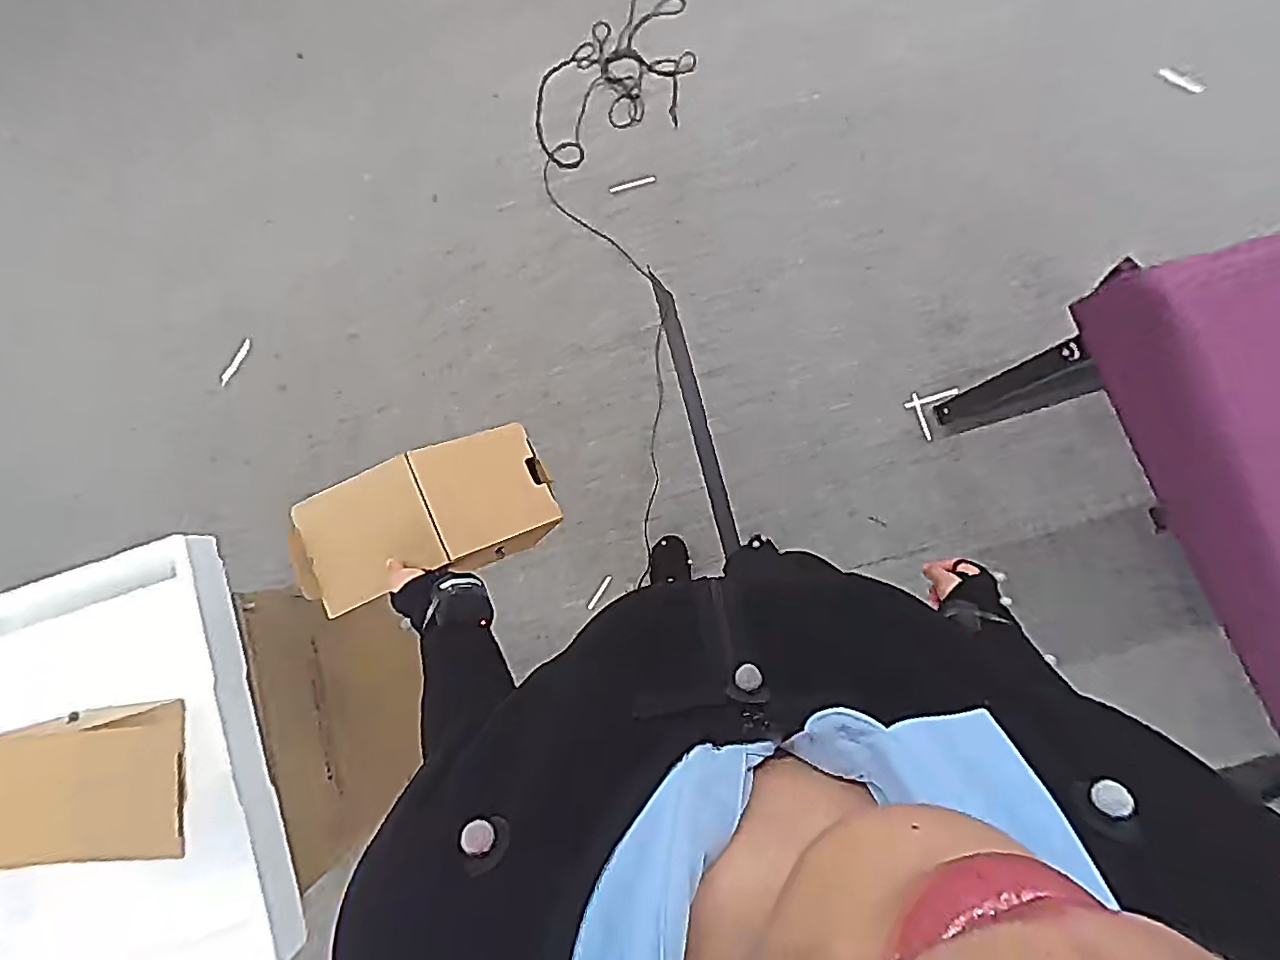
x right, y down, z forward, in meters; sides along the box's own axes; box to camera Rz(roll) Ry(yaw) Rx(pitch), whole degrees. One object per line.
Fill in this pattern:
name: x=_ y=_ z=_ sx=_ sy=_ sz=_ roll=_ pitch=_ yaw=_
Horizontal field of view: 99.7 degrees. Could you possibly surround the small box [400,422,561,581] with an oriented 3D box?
small box: x=-0.249 y=0.038 z=0.822 sx=0.179 sy=0.176 sz=0.168 roll=-21 pitch=81 yaw=-31
